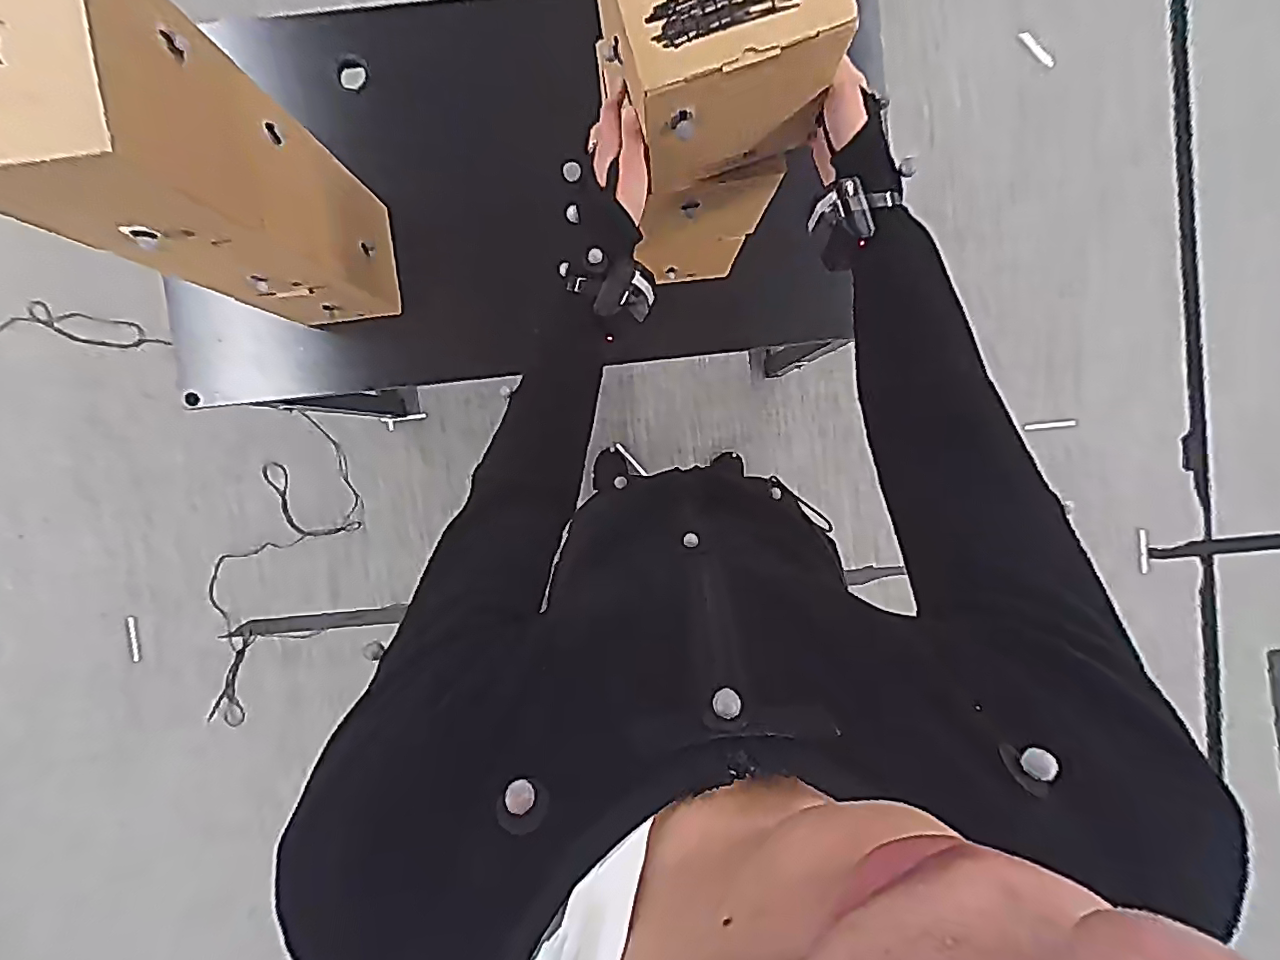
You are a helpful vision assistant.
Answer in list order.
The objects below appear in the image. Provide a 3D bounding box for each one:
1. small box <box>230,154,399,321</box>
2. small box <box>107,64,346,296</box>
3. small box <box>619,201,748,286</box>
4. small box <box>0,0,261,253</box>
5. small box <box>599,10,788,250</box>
[{"bbox_3d":[-0.479,-0.341,0.798,0.168,0.176,0.179,-8,94,0],"label":"small box"},{"bbox_3d":[-0.477,-0.333,0.633,0.168,0.176,0.179,-7,94,1],"label":"small box"},{"bbox_3d":[0.054,-0.405,0.798,0.168,0.176,0.179,-7,94,0],"label":"small box"},{"bbox_3d":[-0.475,-0.322,0.471,0.168,0.176,0.179,-7,94,1],"label":"small box"},{"bbox_3d":[0.056,-0.389,0.634,0.179,0.176,0.168,-10,94,0],"label":"small box"}]
